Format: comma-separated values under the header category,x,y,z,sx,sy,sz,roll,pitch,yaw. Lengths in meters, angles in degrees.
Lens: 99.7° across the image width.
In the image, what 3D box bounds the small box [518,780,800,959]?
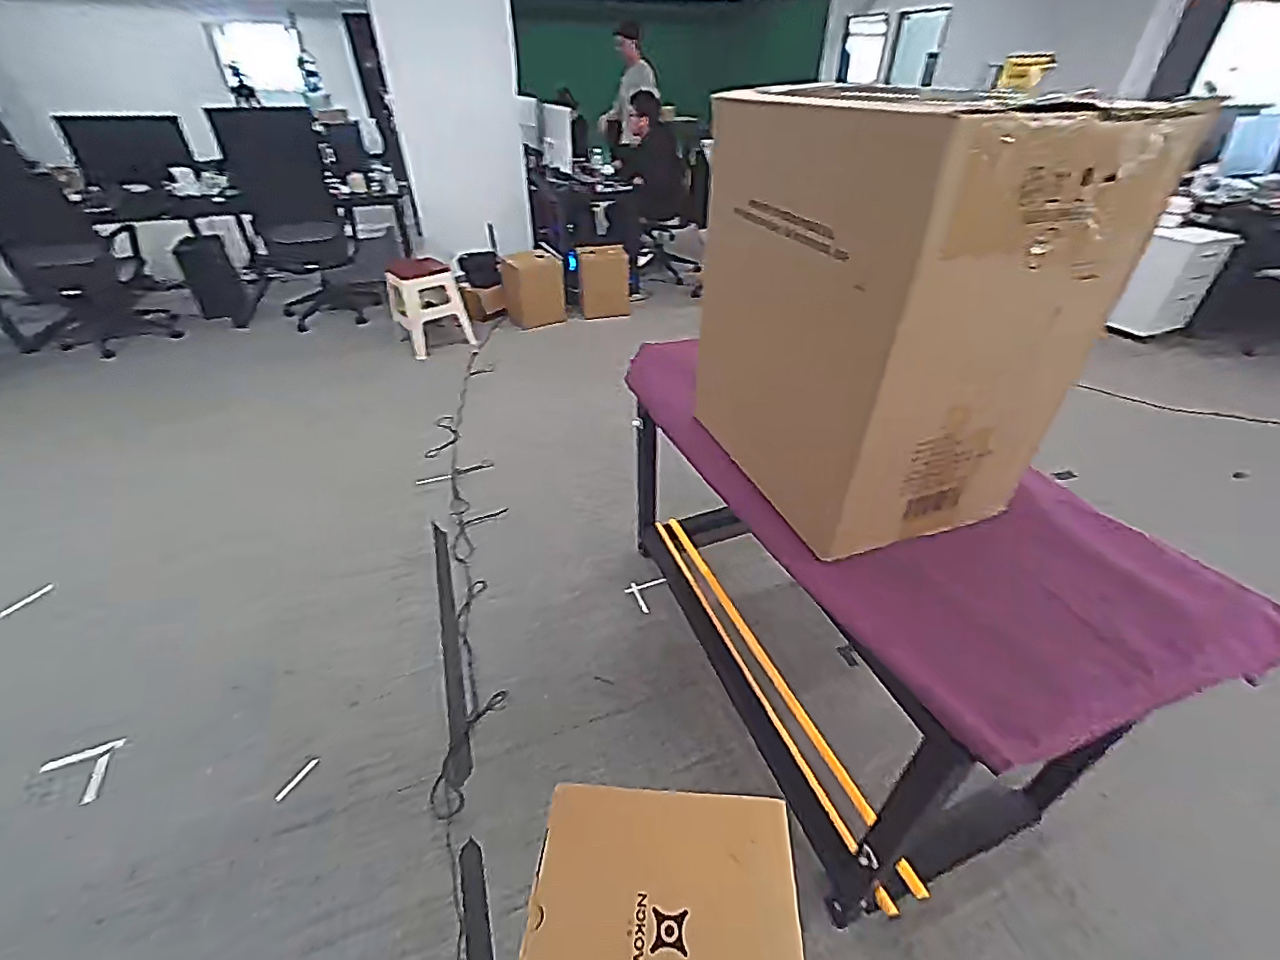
category,x,y,z,sx,sy,sz,roll,pitch,yaw
small box,0.015,0.345,0.393,0.179,0.176,0.168,1,38,4
